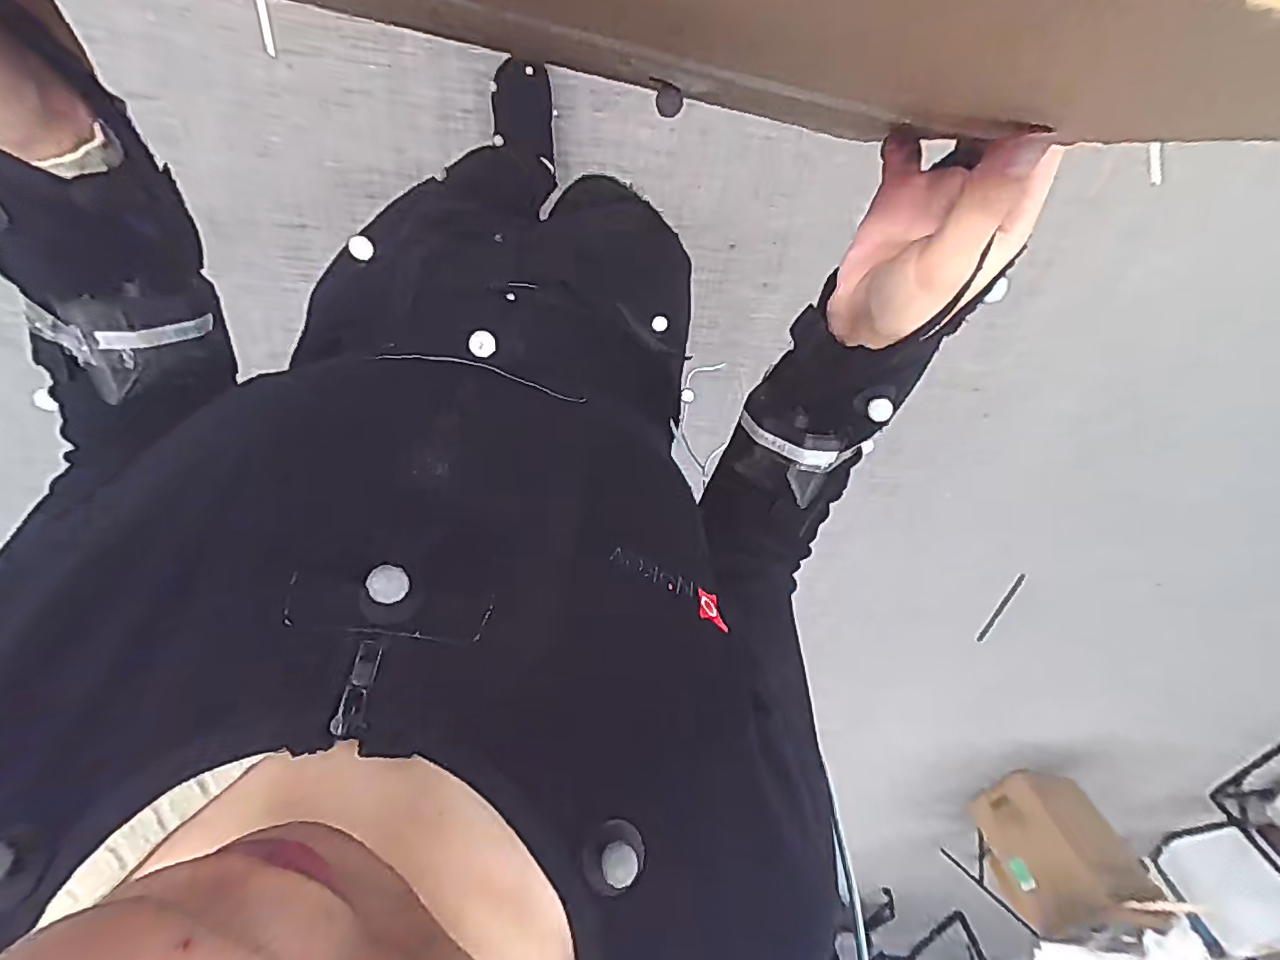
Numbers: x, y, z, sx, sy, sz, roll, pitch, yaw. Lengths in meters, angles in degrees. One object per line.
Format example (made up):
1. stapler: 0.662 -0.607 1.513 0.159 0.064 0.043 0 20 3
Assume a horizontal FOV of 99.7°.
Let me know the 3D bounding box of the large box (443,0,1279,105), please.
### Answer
1. large box: -0.017 -0.303 0.098 0.408 0.320 0.320 6 122 -10
